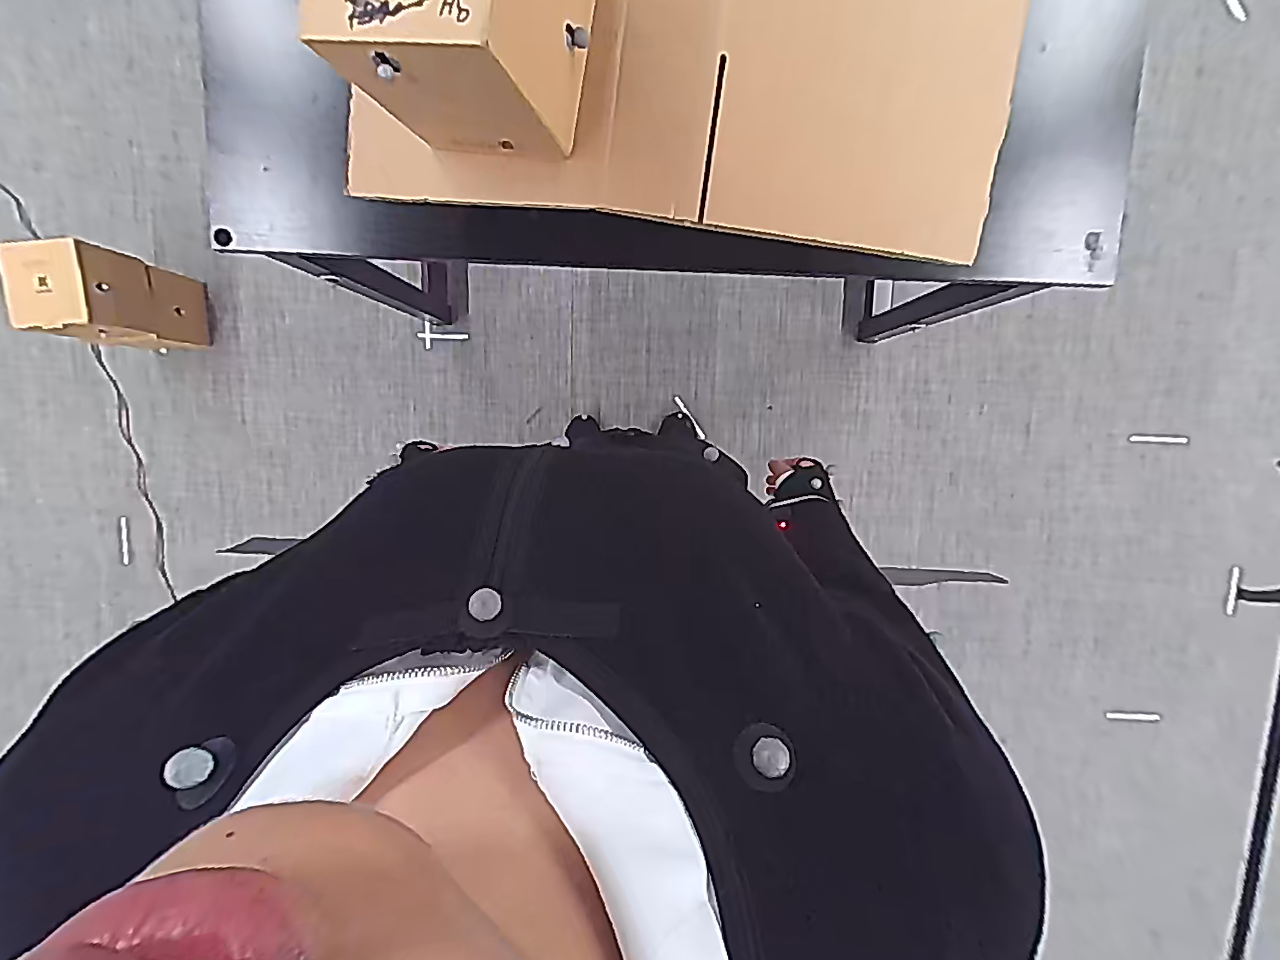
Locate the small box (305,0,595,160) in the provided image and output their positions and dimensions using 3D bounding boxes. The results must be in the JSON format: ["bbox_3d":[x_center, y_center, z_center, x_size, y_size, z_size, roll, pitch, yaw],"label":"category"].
[{"bbox_3d":[-0.148,-0.417,0.472,0.168,0.176,0.179,12,97,13],"label":"small box"}]

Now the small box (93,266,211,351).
[{"bbox_3d":[-1.239,-0.429,1.371,0.168,0.176,0.179,-2,97,1],"label":"small box"}]

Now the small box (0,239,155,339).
[{"bbox_3d":[-1.242,-0.416,1.209,0.168,0.176,0.179,-5,95,0],"label":"small box"}]
